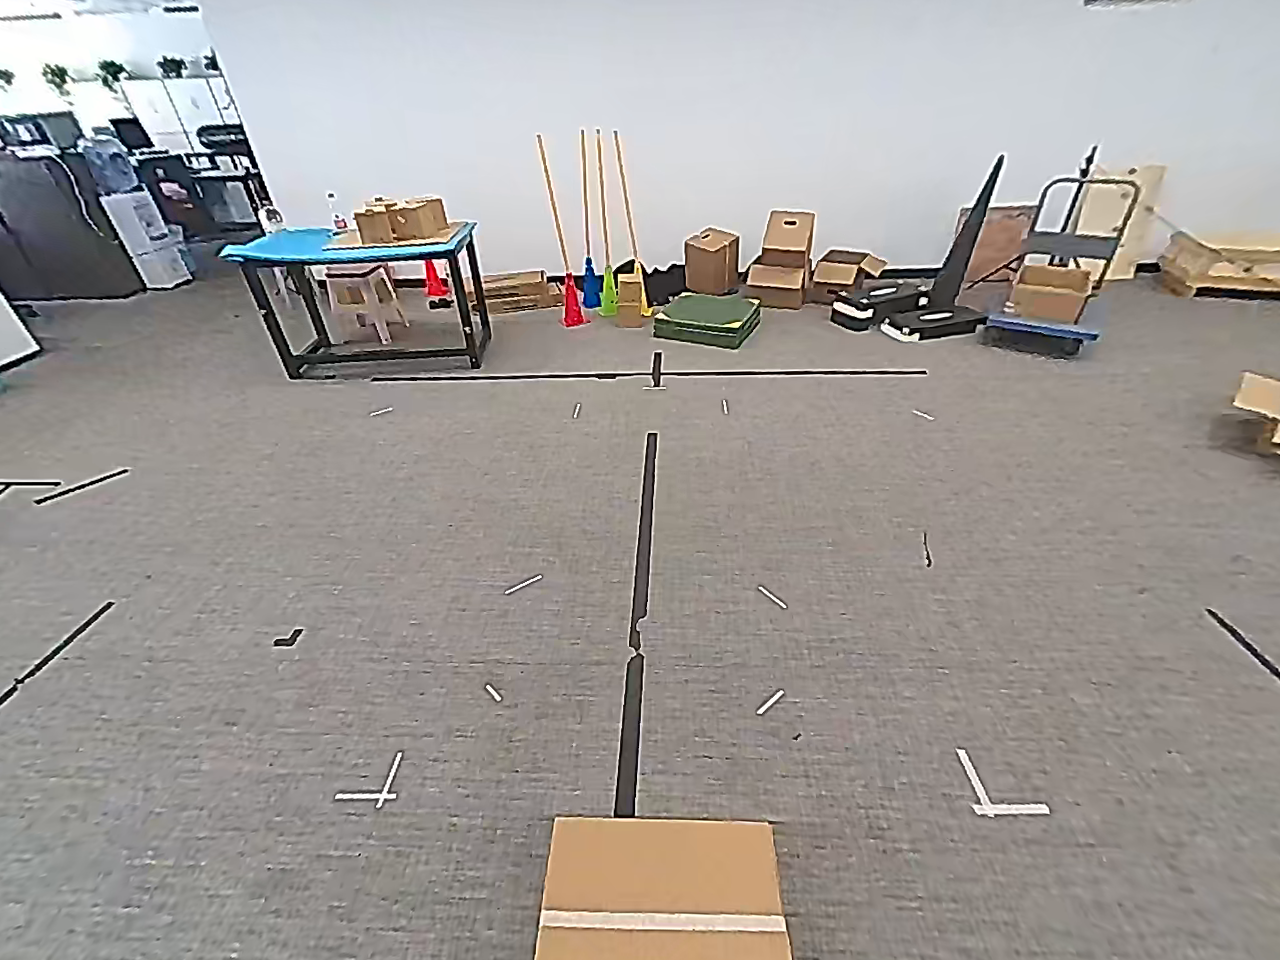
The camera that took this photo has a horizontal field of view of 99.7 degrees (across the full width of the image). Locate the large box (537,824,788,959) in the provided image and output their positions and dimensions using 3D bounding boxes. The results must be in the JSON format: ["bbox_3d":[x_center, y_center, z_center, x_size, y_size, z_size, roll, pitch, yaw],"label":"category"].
[{"bbox_3d":[0.040,0.854,0.971,0.408,0.320,0.320,0,34,2],"label":"large box"}]
